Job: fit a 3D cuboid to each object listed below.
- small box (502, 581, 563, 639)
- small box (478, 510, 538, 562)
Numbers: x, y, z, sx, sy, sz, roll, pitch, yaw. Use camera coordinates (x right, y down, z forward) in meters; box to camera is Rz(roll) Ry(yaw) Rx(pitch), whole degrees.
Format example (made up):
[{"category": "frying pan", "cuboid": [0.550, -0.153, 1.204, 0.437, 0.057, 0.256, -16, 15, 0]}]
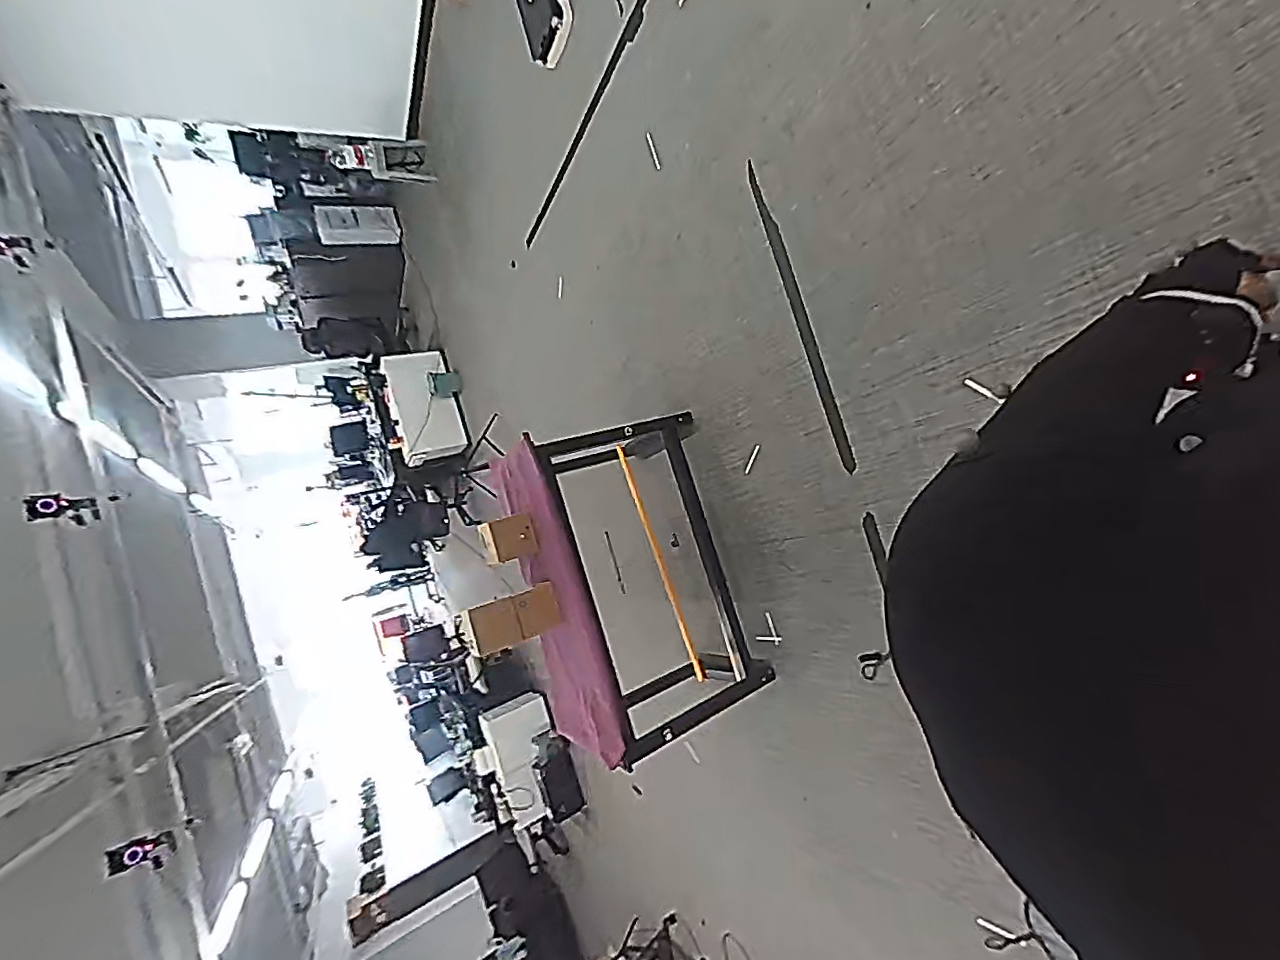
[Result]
[{"category": "small box", "cuboid": [-0.419, 0.505, 2.112, 0.168, 0.176, 0.179, -24, 82, 60]}, {"category": "small box", "cuboid": [-0.523, 0.223, 2.151, 0.179, 0.176, 0.168, -16, 90, 59]}]
